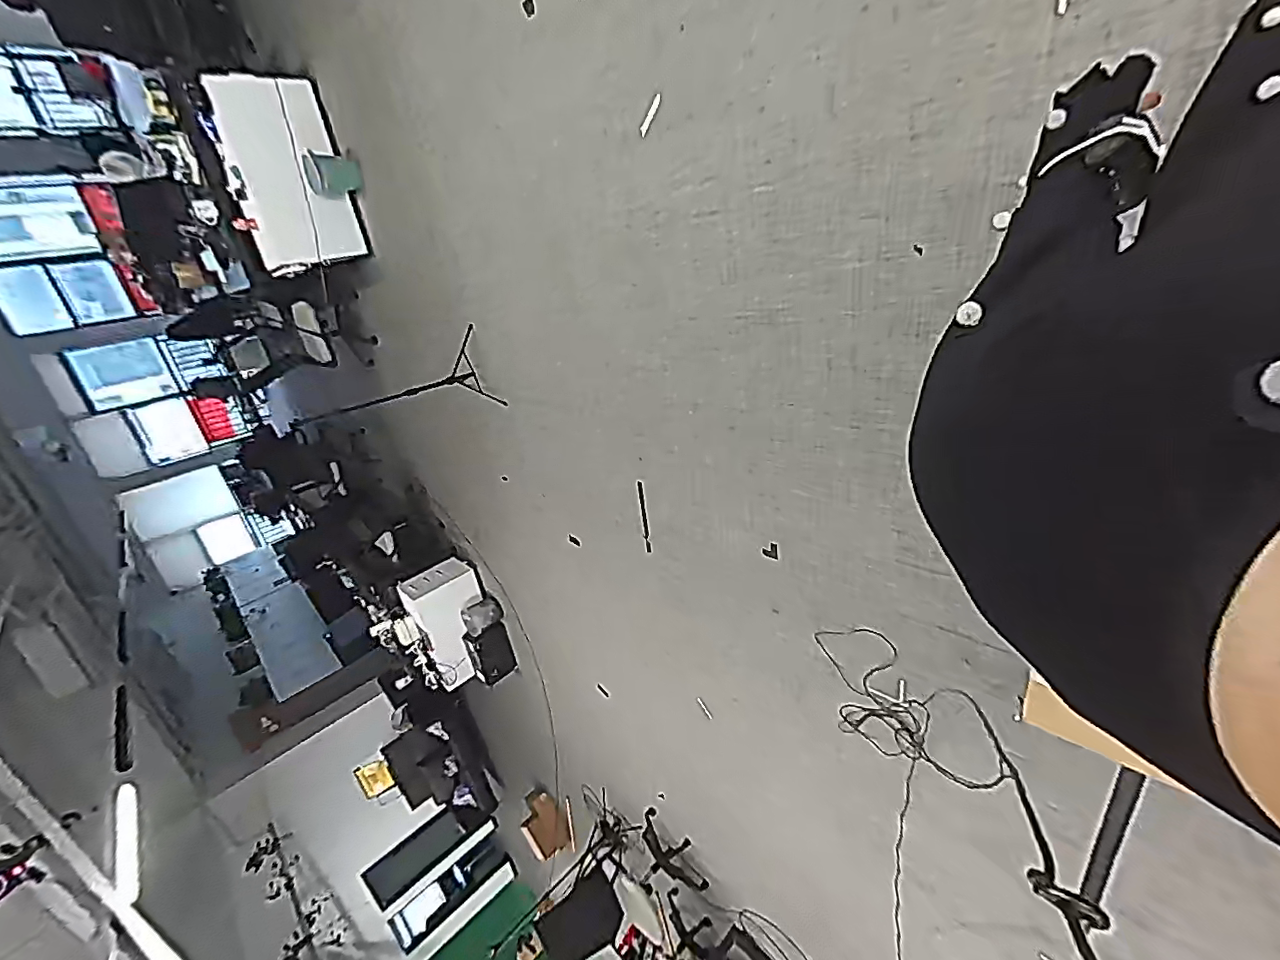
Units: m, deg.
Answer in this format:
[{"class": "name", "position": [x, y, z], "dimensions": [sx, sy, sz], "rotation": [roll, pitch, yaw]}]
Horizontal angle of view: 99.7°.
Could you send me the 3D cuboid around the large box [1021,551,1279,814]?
[{"class": "large box", "position": [1.133, 0.403, 1.183], "dimensions": [0.408, 0.320, 0.320], "rotation": [17, 125, 45]}]
